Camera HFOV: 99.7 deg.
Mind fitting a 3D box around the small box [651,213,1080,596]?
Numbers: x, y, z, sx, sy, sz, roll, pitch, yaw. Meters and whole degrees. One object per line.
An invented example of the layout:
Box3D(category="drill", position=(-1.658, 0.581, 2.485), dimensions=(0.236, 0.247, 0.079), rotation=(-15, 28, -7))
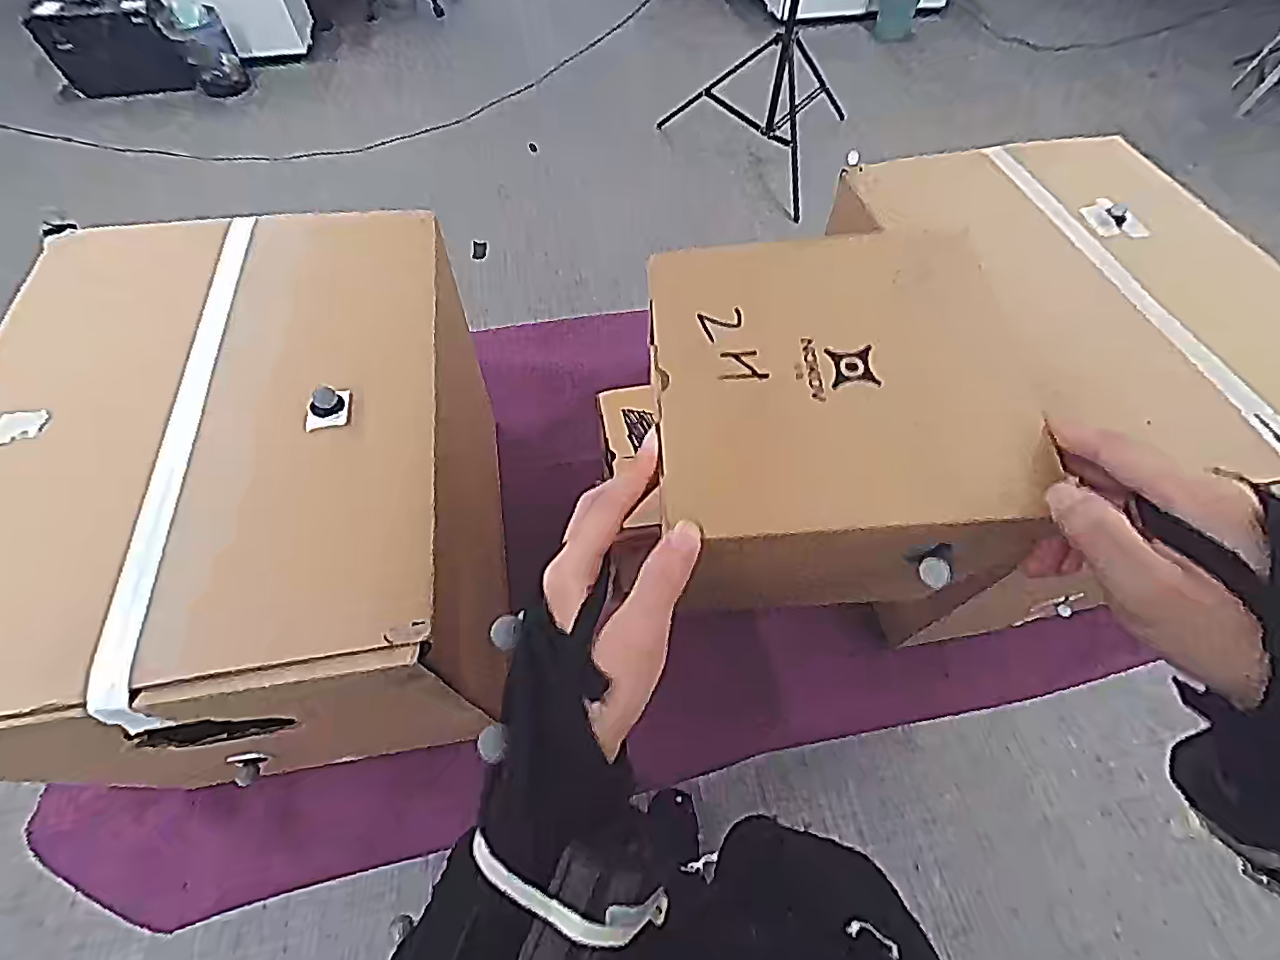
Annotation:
Box3D(category="small box", position=(0.100, -0.029, 0.332), dimensions=(0.179, 0.176, 0.168), rotation=(-4, 65, 3))

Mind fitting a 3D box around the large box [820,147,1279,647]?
Box3D(category="large box", position=(0.382, -0.085, 0.581), dimensions=(0.320, 0.320, 0.408), rotation=(-9, 58, -7))
